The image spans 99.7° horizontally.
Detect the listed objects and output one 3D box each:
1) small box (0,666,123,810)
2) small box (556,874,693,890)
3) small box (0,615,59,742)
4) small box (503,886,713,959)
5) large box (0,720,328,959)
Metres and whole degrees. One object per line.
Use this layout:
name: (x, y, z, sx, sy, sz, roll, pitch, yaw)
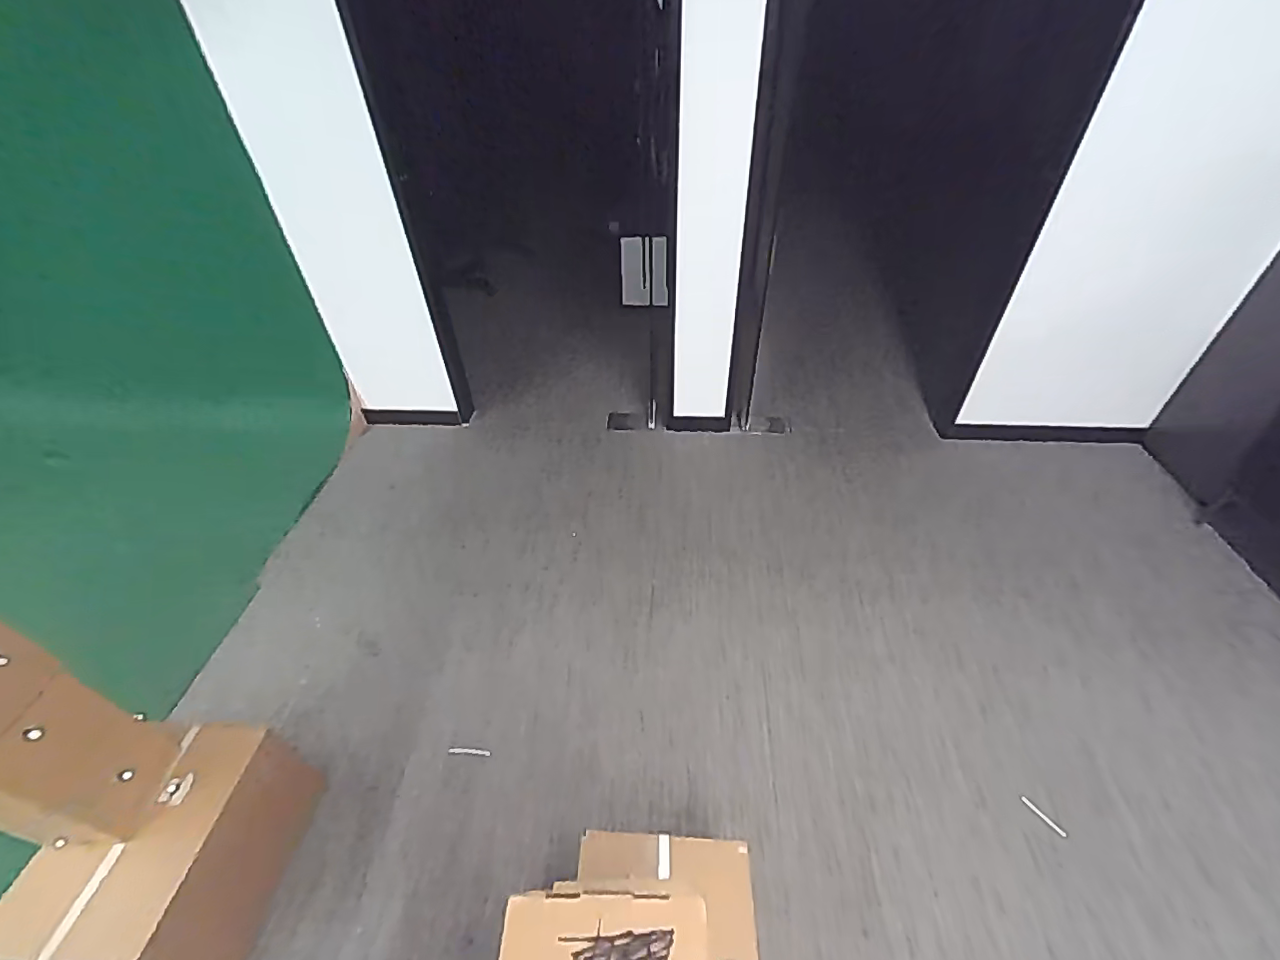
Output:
small box: (-1.056, 0.438, 0.924, 0.168, 0.176, 0.179, -2, 43, 5)
small box: (-0.016, 0.618, 0.685, 0.179, 0.176, 0.168, -3, 41, 2)
small box: (-1.063, 0.313, 0.820, 0.168, 0.176, 0.179, -1, 43, 7)
small box: (-0.023, 0.457, 0.443, 0.168, 0.176, 0.179, -2, 45, 3)
large box: (-0.960, 0.779, 1.150, 0.320, 0.320, 0.408, 0, 41, 4)
